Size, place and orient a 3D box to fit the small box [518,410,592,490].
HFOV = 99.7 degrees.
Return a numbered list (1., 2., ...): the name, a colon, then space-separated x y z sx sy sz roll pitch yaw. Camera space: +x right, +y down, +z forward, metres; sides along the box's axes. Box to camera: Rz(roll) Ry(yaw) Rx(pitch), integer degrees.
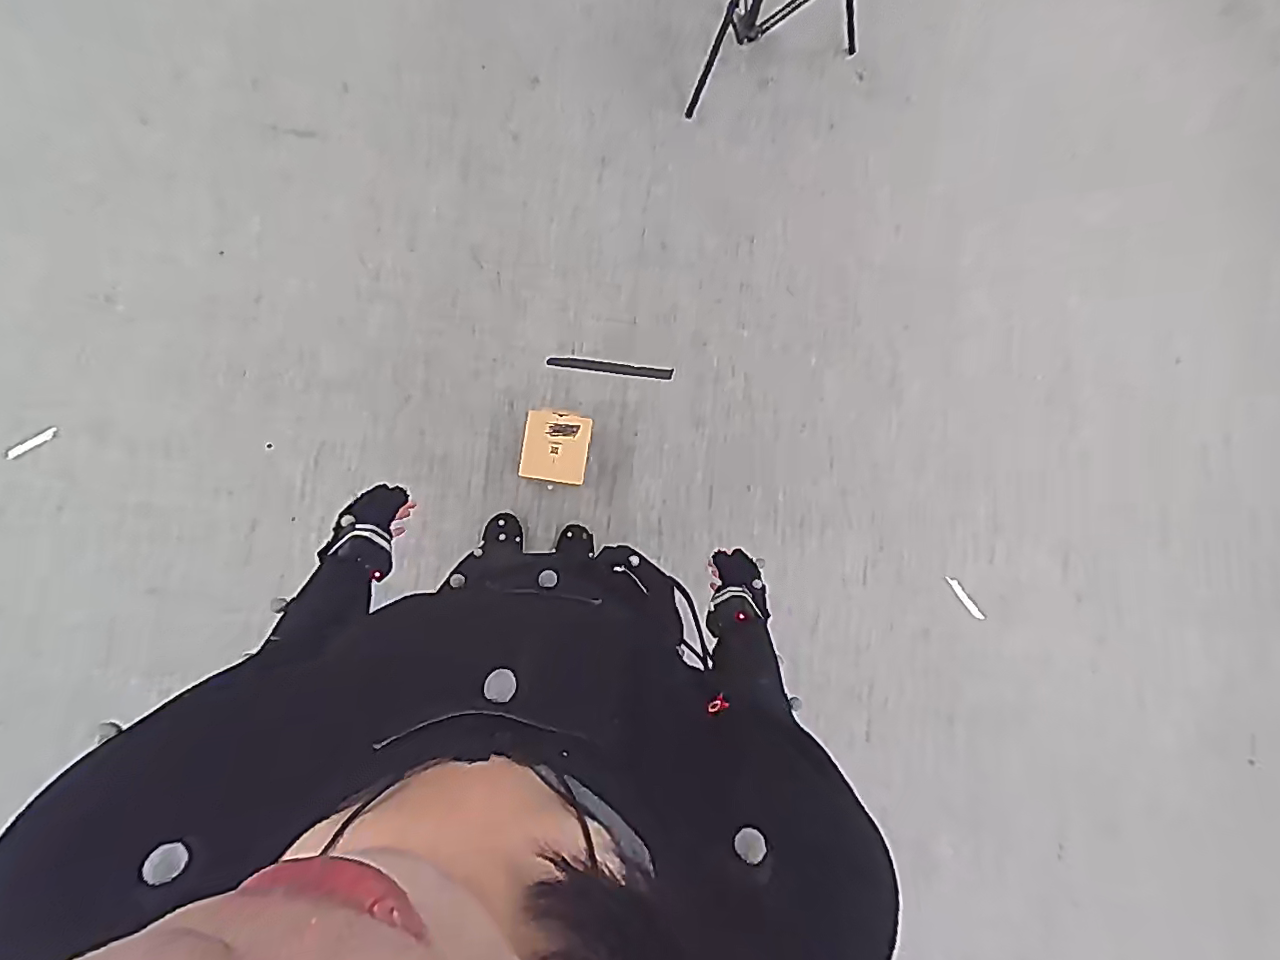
1. small box: -0.224 -0.075 1.459 0.168 0.176 0.179 9 86 -4
